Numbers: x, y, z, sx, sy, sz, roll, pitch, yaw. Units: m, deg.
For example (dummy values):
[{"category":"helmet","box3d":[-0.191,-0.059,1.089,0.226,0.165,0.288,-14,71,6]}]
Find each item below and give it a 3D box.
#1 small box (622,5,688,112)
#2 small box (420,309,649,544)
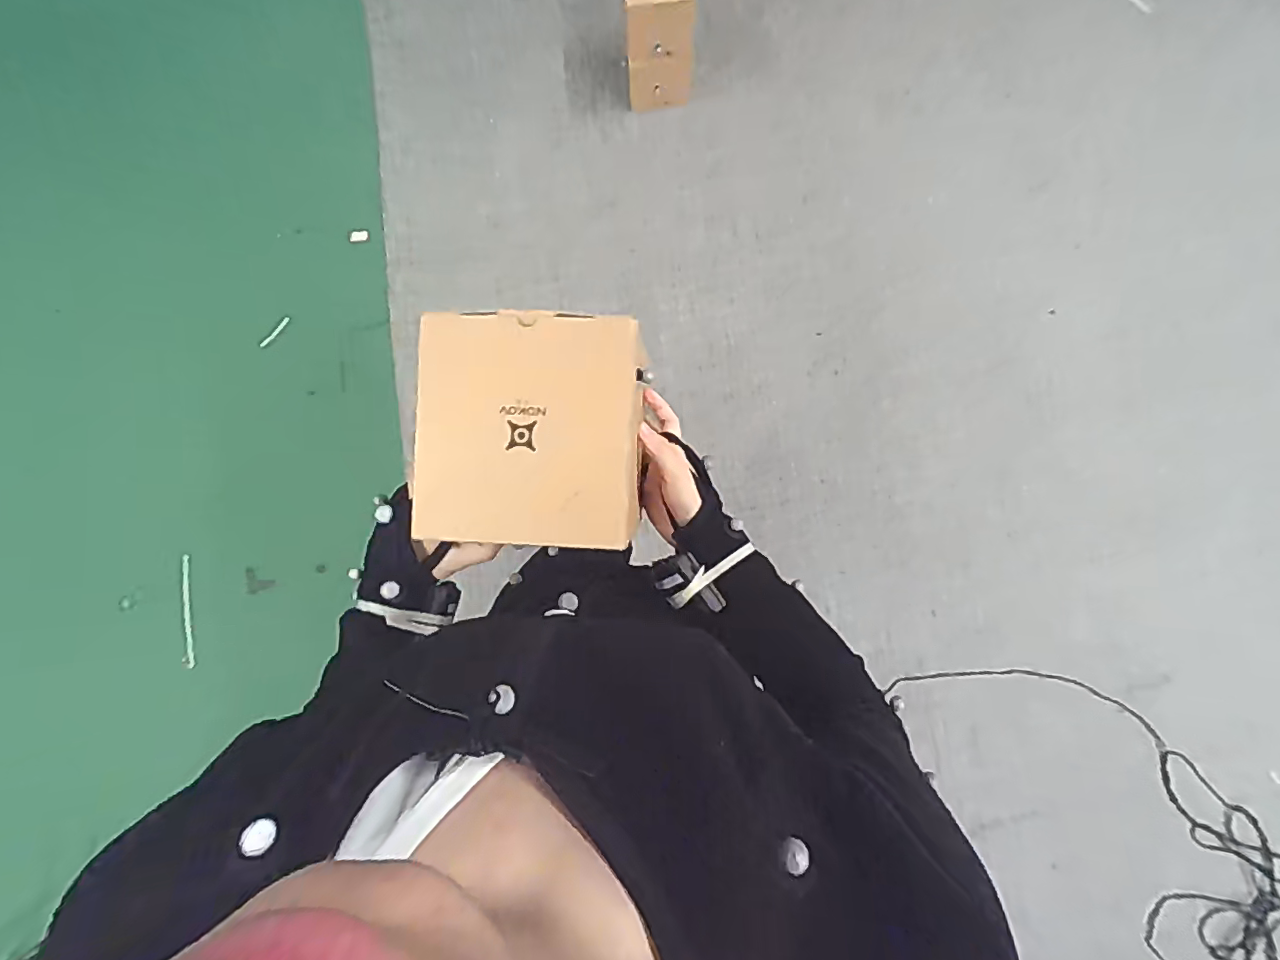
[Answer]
[{"category":"small box","box3d":[0.044,-1.177,1.528,0.168,0.176,0.179,-7,86,1]},{"category":"small box","box3d":[-0.080,-0.042,0.492,0.168,0.176,0.179,2,90,4]}]
